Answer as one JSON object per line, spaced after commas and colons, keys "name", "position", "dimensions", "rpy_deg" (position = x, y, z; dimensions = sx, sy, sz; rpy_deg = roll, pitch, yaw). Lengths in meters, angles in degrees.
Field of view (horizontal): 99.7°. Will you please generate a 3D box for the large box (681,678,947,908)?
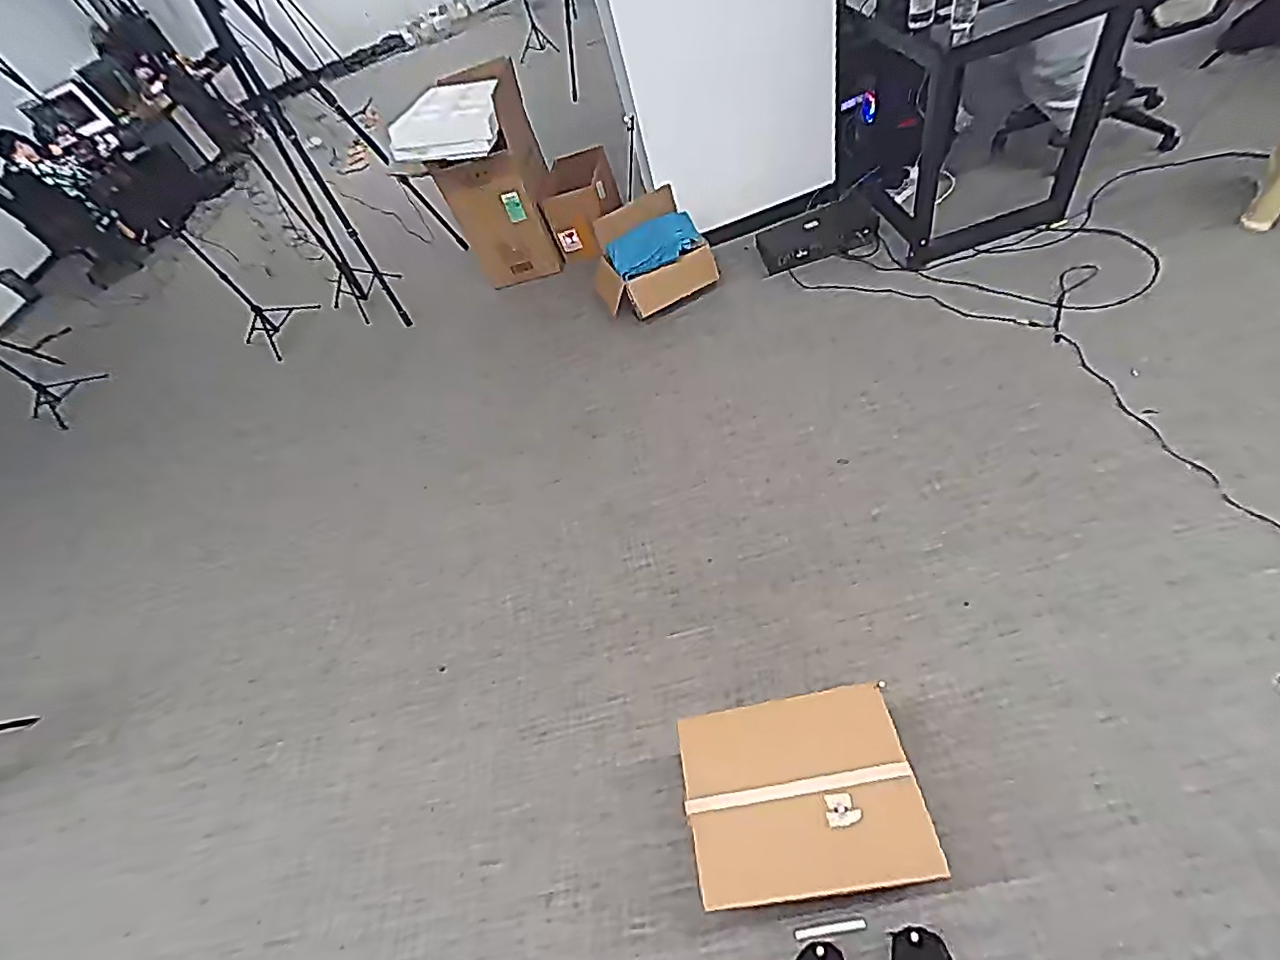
{"name": "large box", "position": [0.327, 0.643, 1.100], "dimensions": [0.408, 0.320, 0.320], "rpy_deg": [-15, 51, 8]}
